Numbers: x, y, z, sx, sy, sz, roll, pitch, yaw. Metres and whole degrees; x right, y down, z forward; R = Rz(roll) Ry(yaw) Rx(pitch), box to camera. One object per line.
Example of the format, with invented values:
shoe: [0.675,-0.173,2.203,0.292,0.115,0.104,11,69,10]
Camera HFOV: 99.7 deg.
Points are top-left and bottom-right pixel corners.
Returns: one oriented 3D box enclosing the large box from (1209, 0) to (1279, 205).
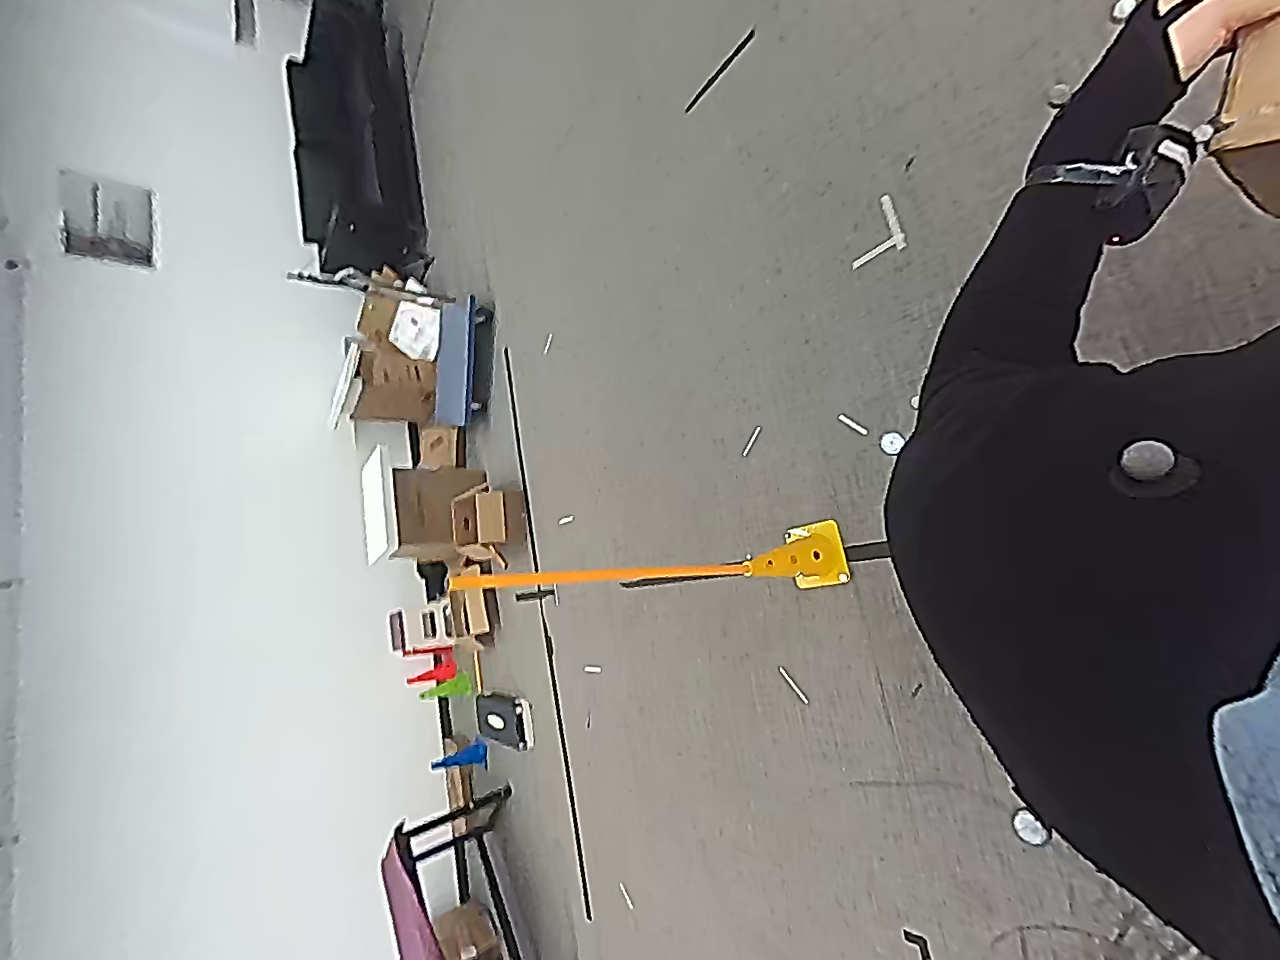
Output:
large box: [0.653,-0.370,0.285,0.408,0.320,0.320,19,111,54]
